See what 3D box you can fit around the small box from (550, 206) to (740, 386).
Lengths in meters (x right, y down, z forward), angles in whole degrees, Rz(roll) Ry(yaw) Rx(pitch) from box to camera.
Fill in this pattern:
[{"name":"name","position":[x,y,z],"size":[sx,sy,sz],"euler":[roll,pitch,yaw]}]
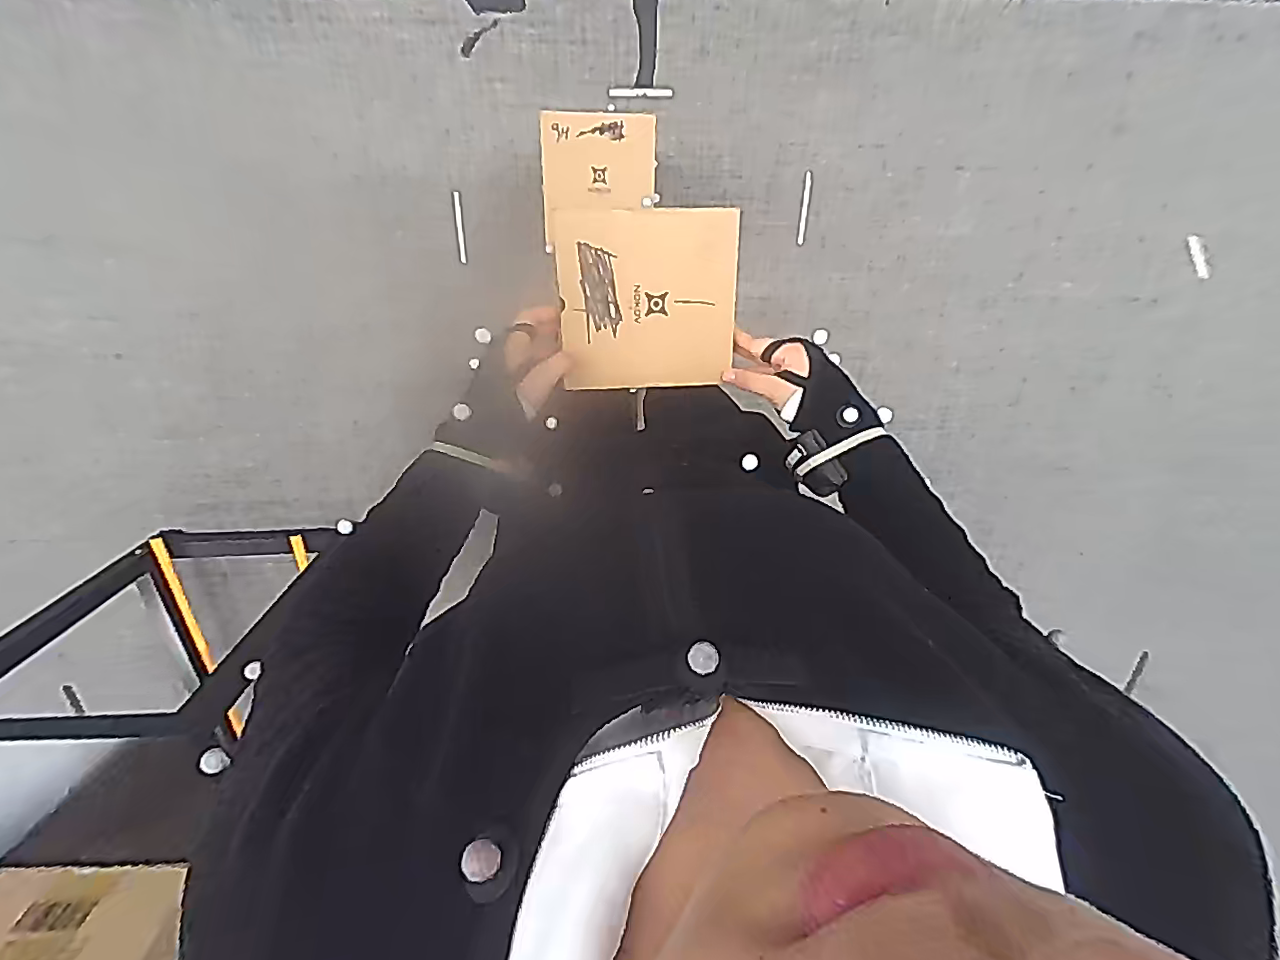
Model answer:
[{"name":"small box","position":[0.000,-0.201,0.593],"size":[0.179,0.176,0.168],"euler":[-3,113,-5]}]

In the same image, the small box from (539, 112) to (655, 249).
[{"name":"small box","position":[-0.065,-0.466,0.862],"size":[0.168,0.176,0.179],"euler":[1,116,-3]}]
